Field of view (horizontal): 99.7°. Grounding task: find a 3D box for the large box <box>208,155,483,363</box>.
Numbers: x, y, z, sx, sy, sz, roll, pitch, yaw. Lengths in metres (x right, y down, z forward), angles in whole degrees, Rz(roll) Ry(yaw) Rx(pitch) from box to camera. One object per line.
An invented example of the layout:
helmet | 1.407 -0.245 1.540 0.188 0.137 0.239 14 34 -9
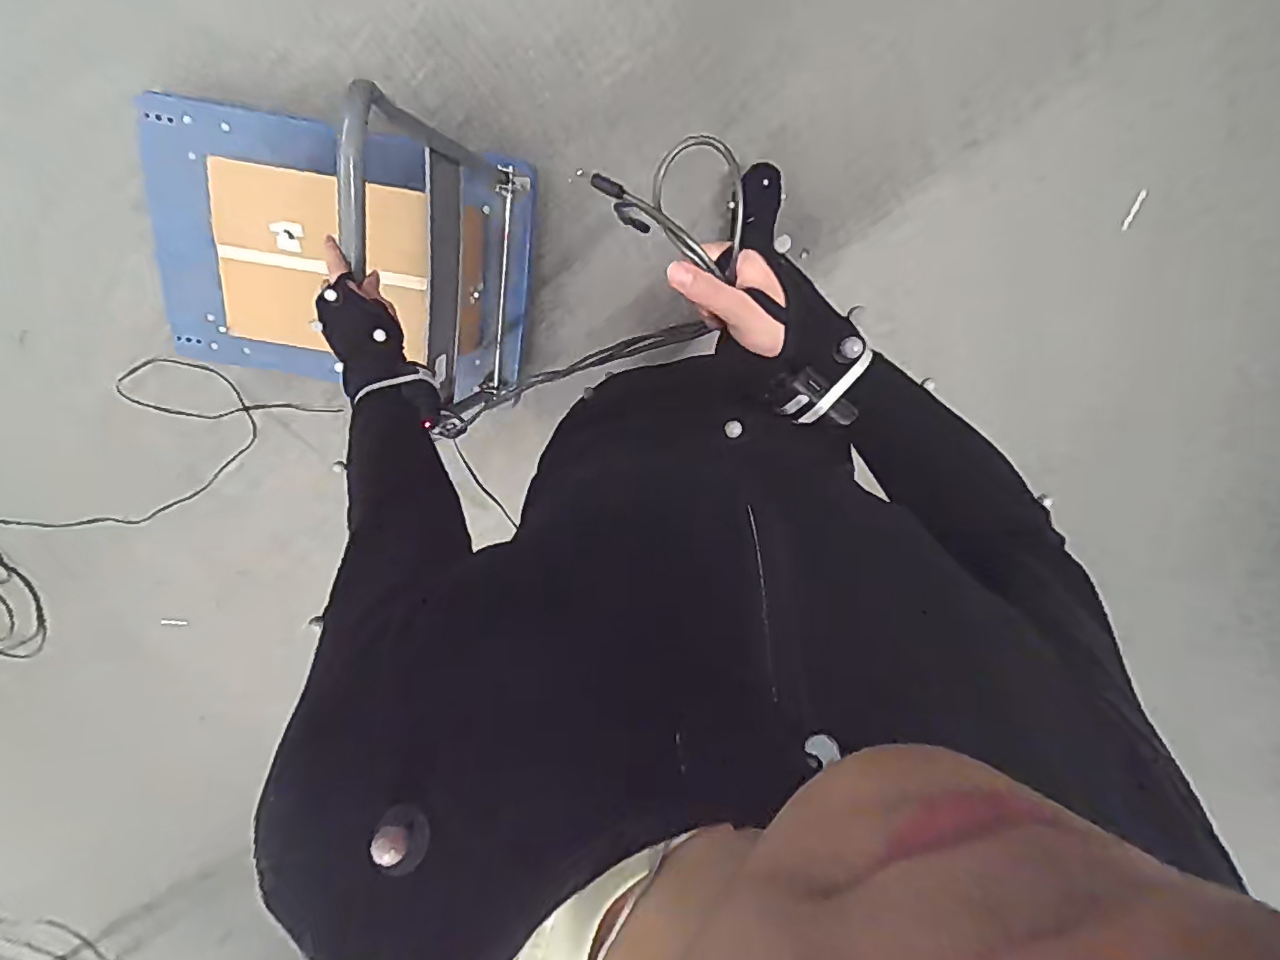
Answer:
large box | -0.575 -0.453 1.138 0.408 0.320 0.320 10 111 -2
